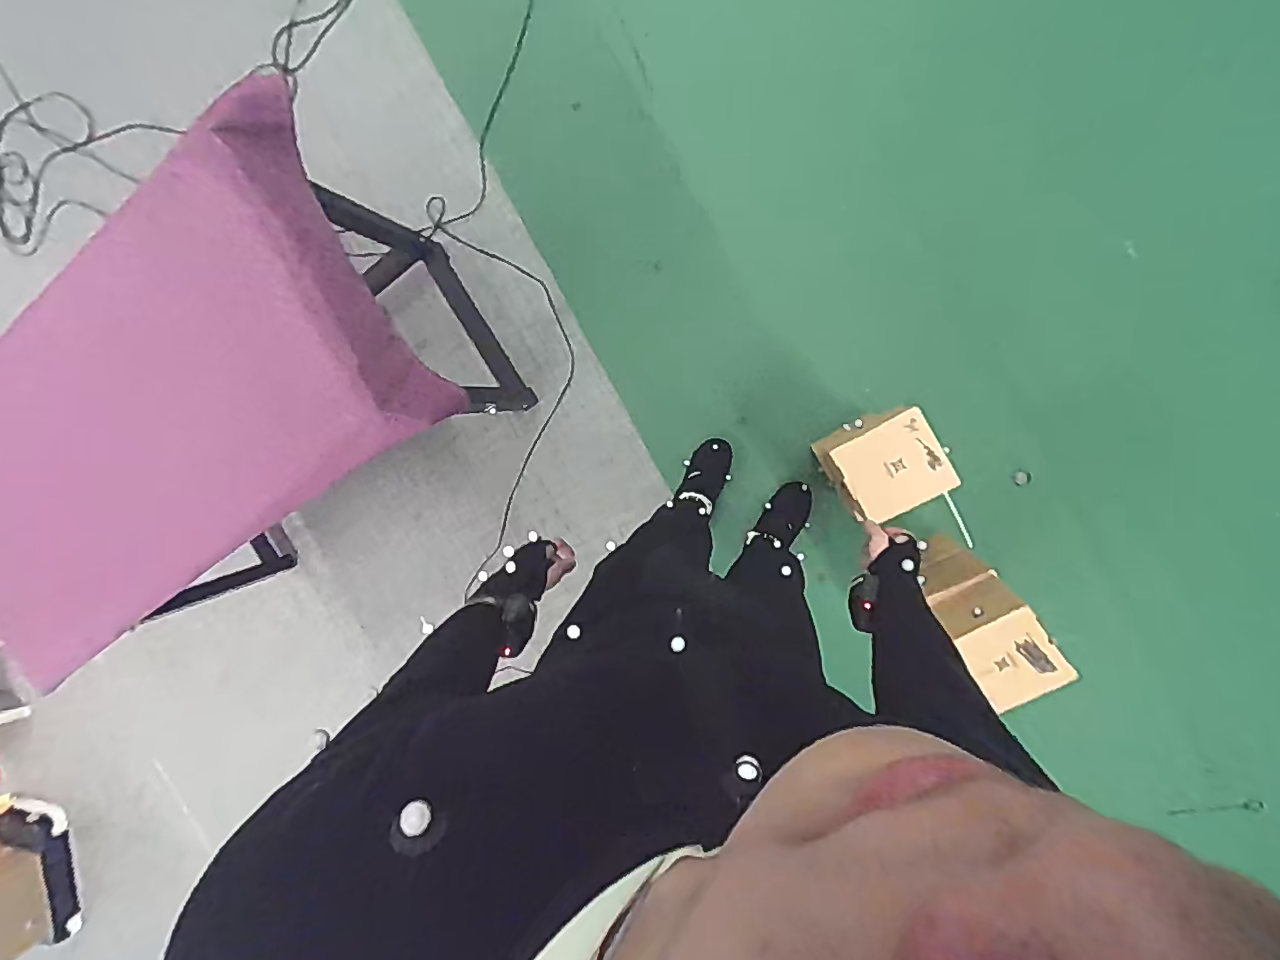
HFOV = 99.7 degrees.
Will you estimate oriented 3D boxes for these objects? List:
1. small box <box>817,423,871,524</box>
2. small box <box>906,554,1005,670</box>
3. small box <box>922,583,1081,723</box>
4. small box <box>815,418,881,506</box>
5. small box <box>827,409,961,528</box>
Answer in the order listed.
[{"bbox_3d":[0.519,-0.024,1.225,0.168,0.176,0.179,-30,90,15],"label":"small box"},{"bbox_3d":[0.727,0.292,1.220,0.179,0.176,0.168,-30,91,16],"label":"small box"},{"bbox_3d":[0.696,0.330,1.064,0.179,0.176,0.168,-36,90,18],"label":"small box"},{"bbox_3d":[0.563,-0.046,1.383,0.179,0.176,0.168,-30,90,15],"label":"small box"},{"bbox_3d":[0.484,-0.026,1.063,0.179,0.176,0.168,-29,89,16],"label":"small box"}]
